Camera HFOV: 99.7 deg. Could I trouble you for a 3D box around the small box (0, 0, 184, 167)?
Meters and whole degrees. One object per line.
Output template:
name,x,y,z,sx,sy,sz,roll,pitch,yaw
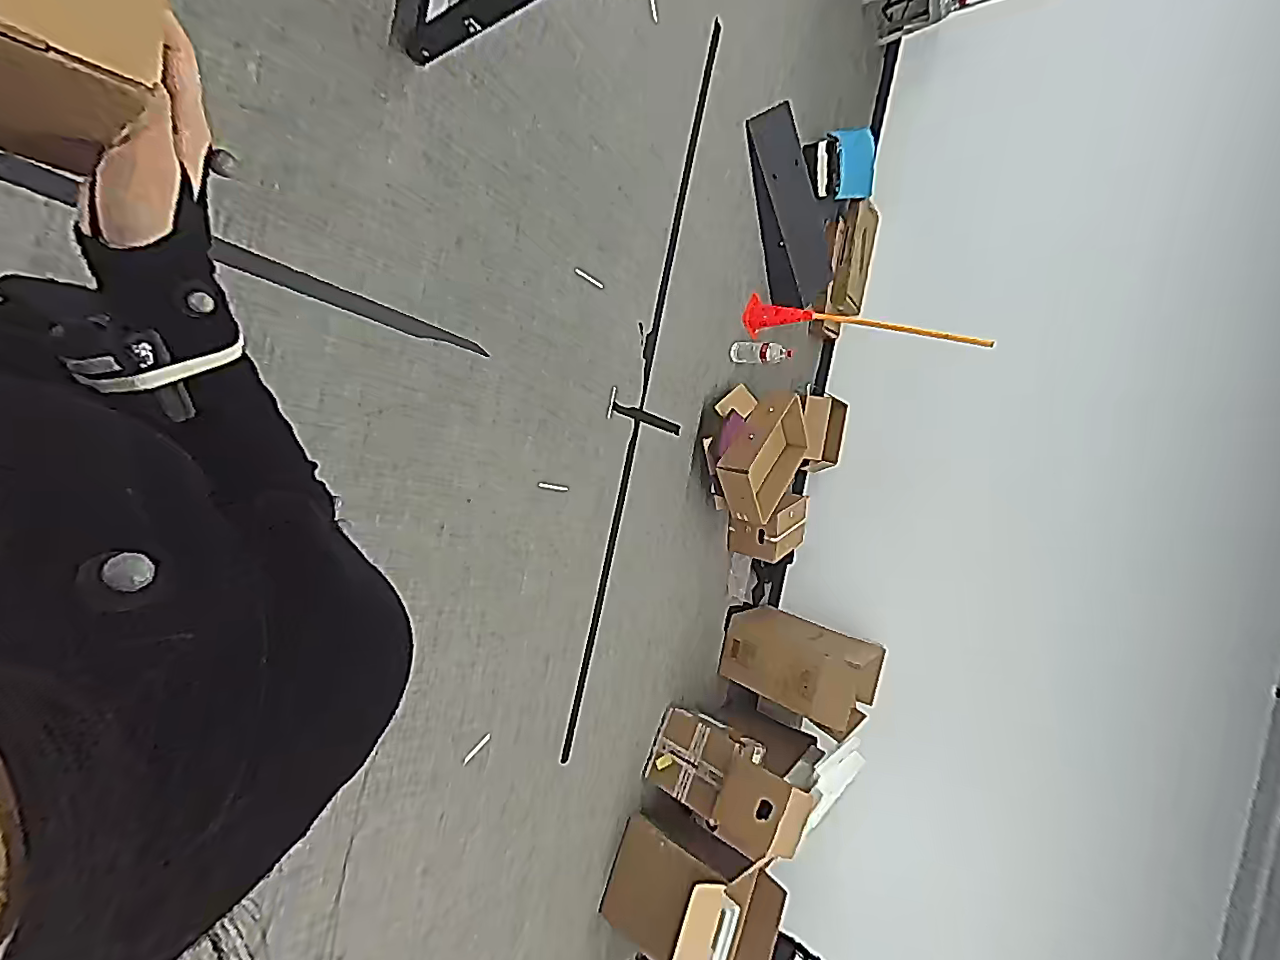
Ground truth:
small box,-0.288,-0.246,0.196,0.168,0.176,0.179,1,98,-53
